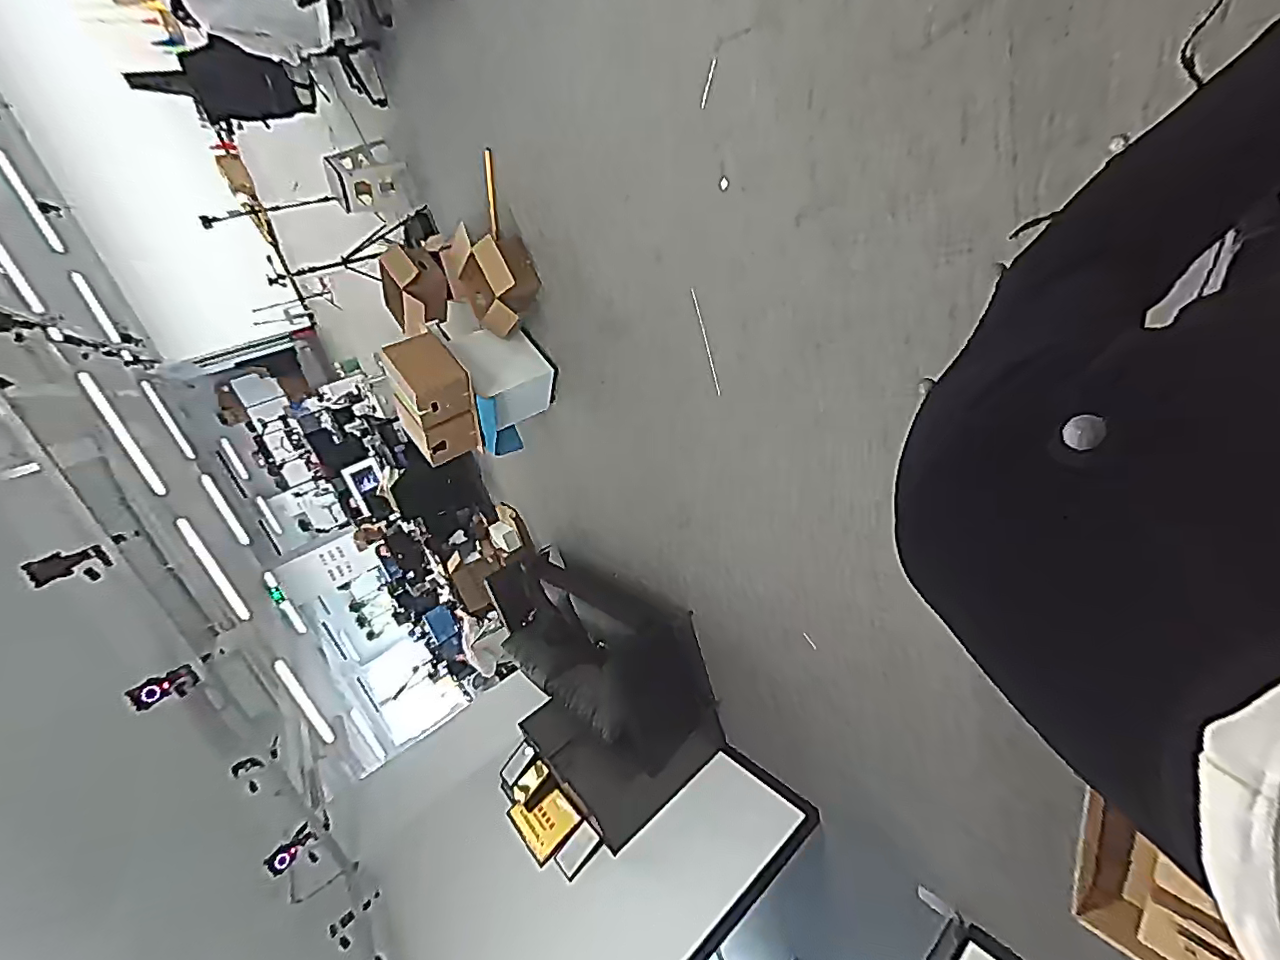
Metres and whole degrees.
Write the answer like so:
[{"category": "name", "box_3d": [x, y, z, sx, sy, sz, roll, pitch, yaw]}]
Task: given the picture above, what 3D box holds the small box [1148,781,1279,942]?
[{"category": "small box", "box_3d": [1.190, 0.771, 1.113, 0.168, 0.176, 0.179, 19, 132, 51]}]
